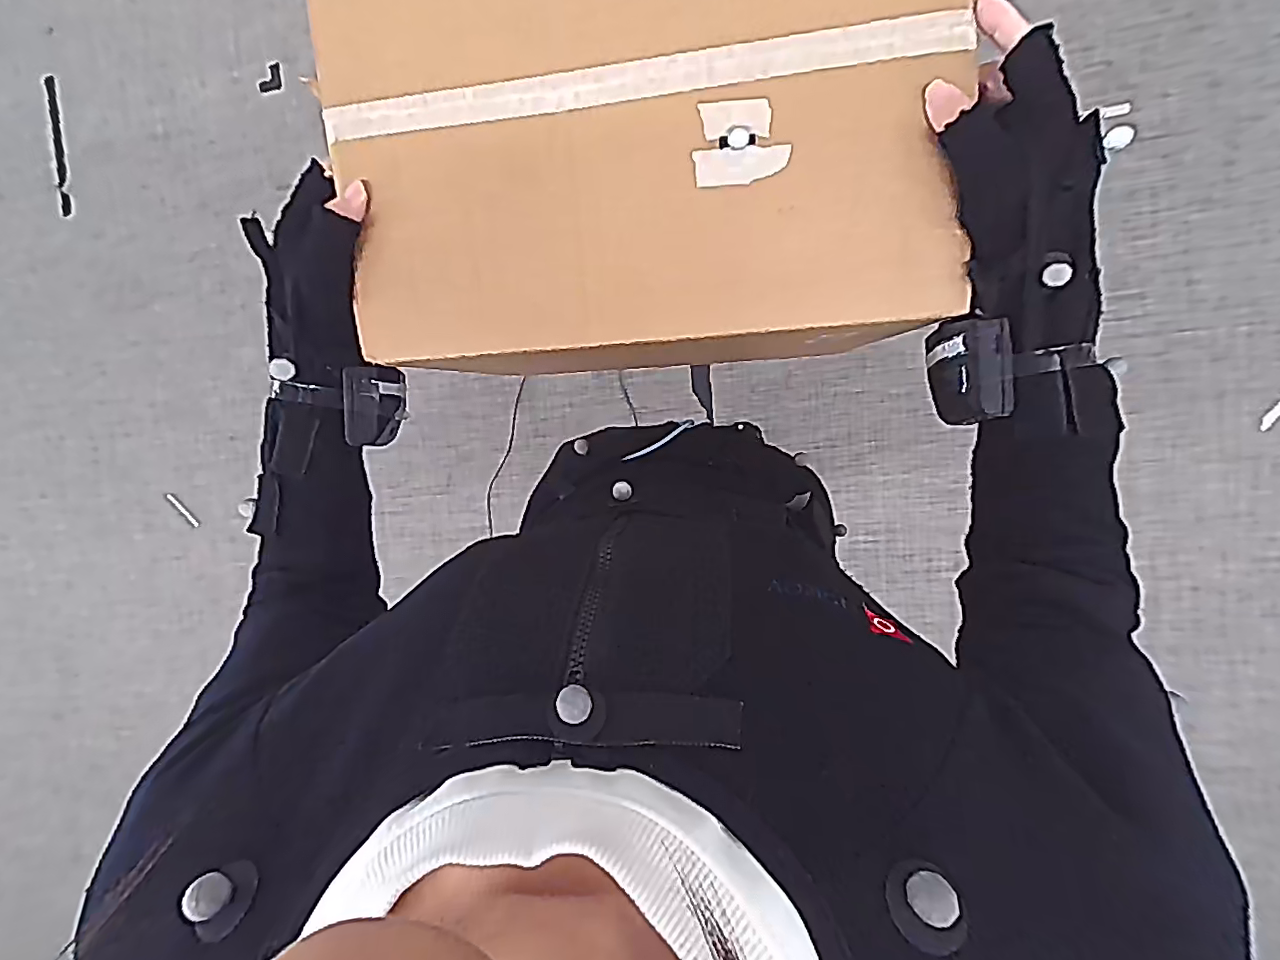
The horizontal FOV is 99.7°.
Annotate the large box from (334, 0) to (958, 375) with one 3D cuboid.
[{"bbox_3d":[0.011,-0.276,0.498,0.408,0.320,0.320,-3,99,7],"label":"large box"}]
